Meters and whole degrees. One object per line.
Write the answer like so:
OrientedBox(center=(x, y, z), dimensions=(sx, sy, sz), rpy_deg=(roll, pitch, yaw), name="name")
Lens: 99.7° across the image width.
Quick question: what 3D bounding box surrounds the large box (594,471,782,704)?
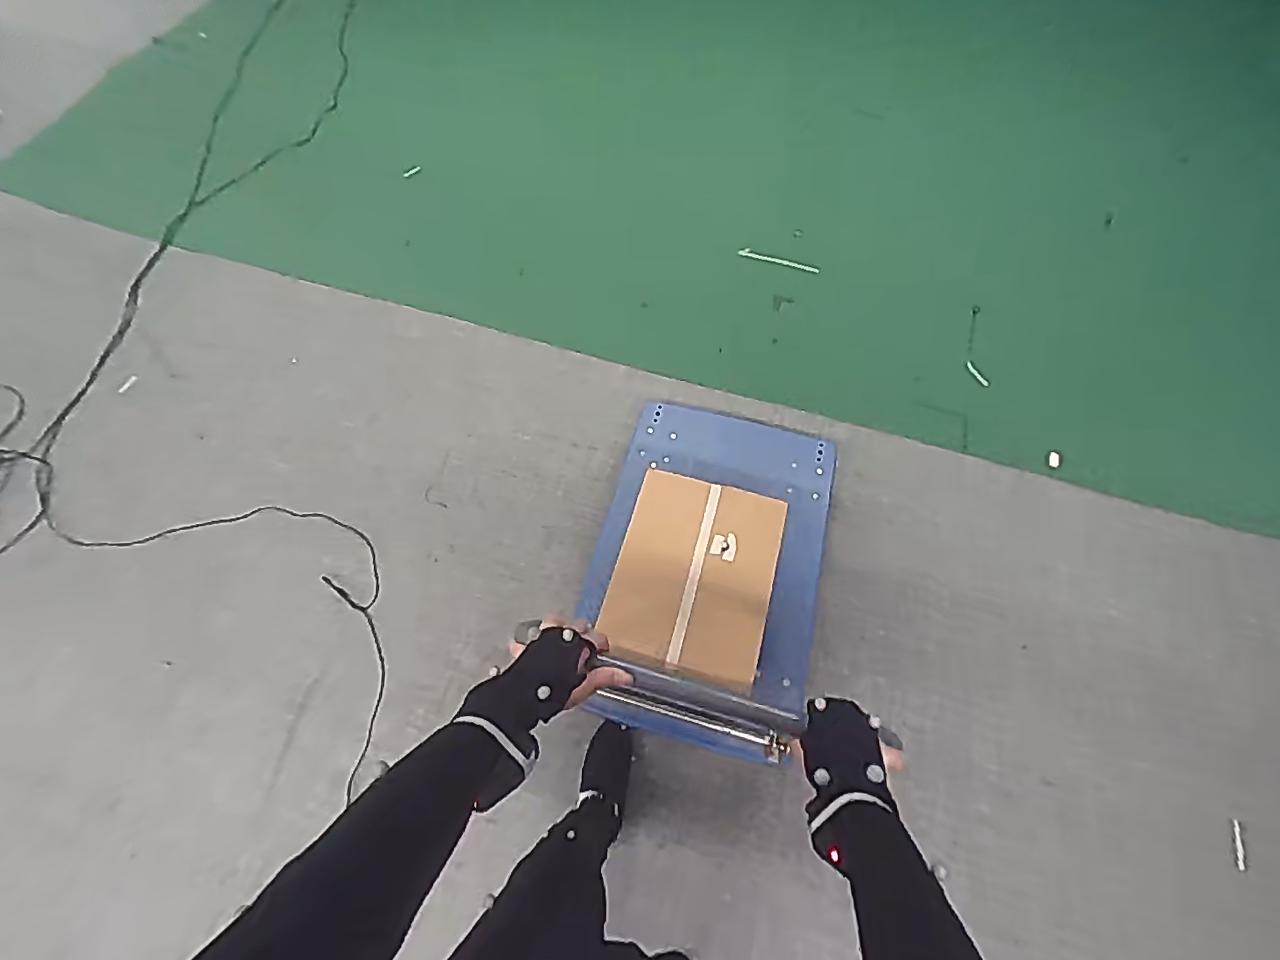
OrientedBox(center=(0.109, 0.252, 1.228), dimensions=(0.320, 0.320, 0.408), rpy_deg=(15, 64, 7), name="large box")
